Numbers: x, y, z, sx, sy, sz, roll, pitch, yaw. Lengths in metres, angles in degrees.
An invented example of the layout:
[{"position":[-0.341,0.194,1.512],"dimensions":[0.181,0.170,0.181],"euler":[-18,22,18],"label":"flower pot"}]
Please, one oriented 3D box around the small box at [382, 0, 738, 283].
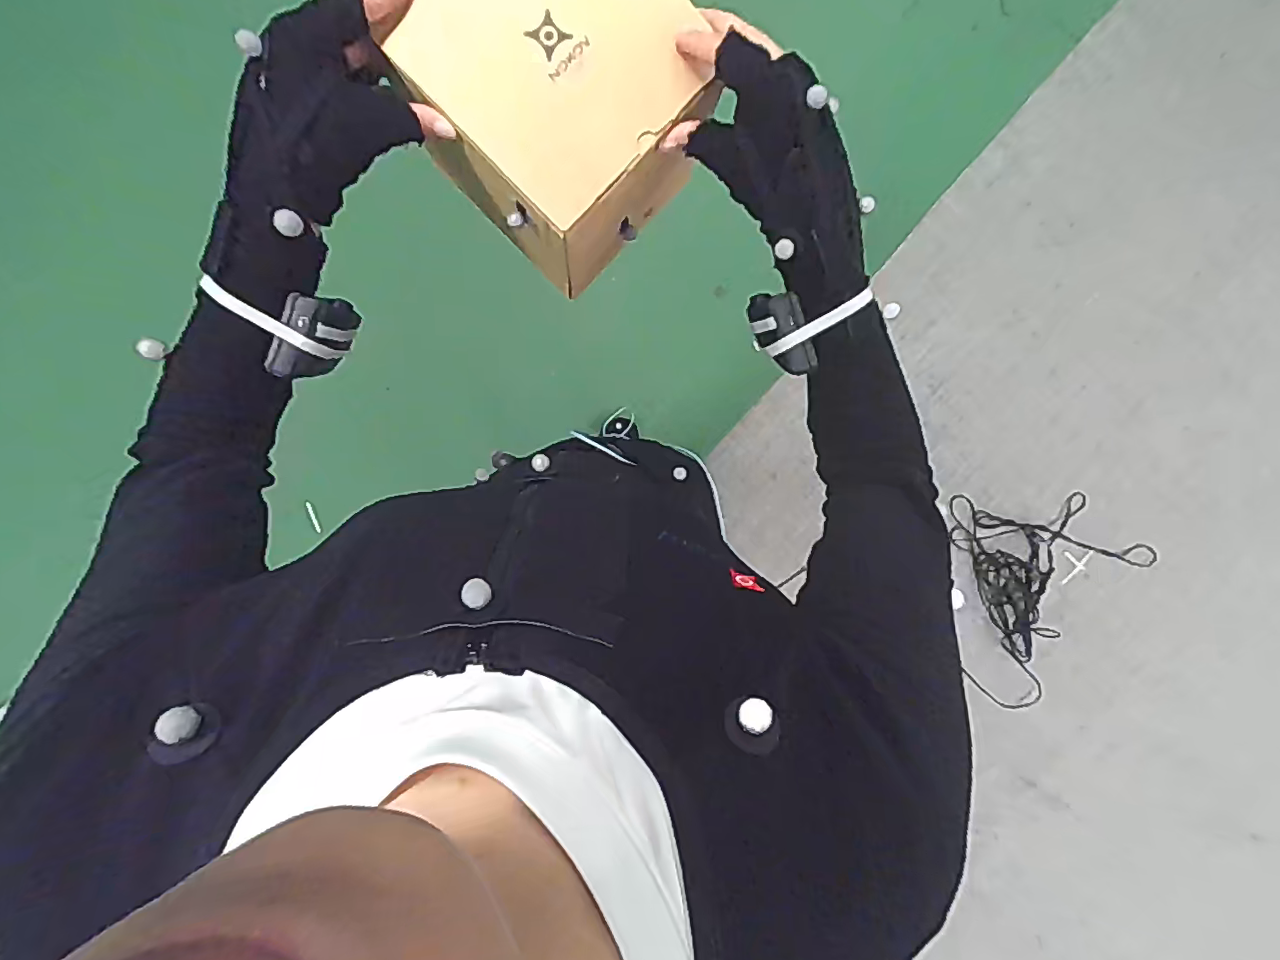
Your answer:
[{"position":[-0.058,-0.291,0.433],"dimensions":[0.179,0.176,0.168],"euler":[44,89,-9],"label":"small box"}]
